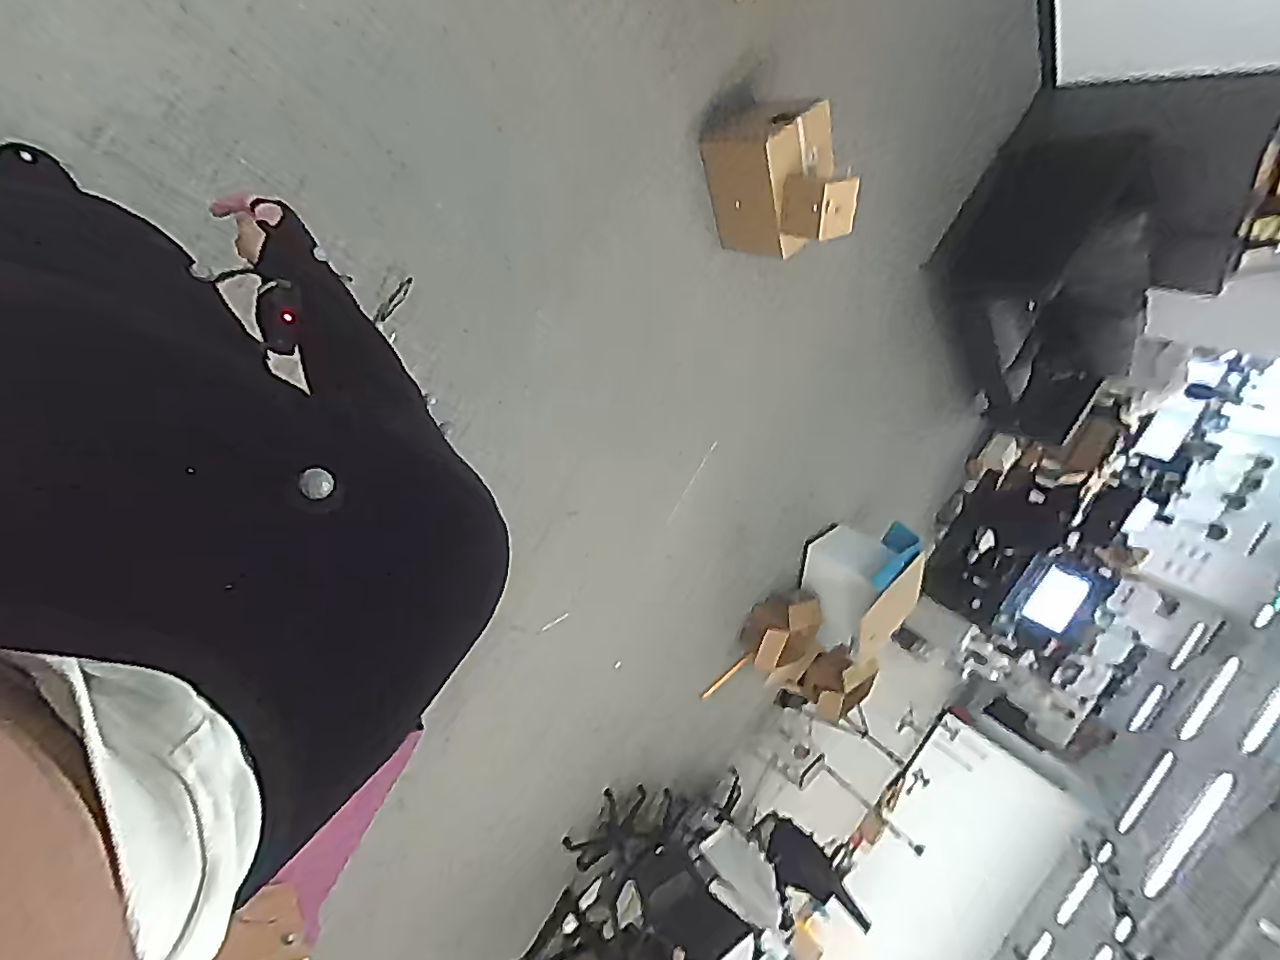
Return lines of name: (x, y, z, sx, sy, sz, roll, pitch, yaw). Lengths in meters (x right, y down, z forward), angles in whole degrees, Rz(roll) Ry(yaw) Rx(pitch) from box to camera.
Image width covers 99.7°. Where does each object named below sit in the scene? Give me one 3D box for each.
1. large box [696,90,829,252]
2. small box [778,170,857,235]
large box: (0.454, -1.099, 1.944, 0.320, 0.320, 0.408, -43, 136, -15)
small box: (0.589, -0.931, 1.805, 0.179, 0.176, 0.168, -26, 130, -28)
